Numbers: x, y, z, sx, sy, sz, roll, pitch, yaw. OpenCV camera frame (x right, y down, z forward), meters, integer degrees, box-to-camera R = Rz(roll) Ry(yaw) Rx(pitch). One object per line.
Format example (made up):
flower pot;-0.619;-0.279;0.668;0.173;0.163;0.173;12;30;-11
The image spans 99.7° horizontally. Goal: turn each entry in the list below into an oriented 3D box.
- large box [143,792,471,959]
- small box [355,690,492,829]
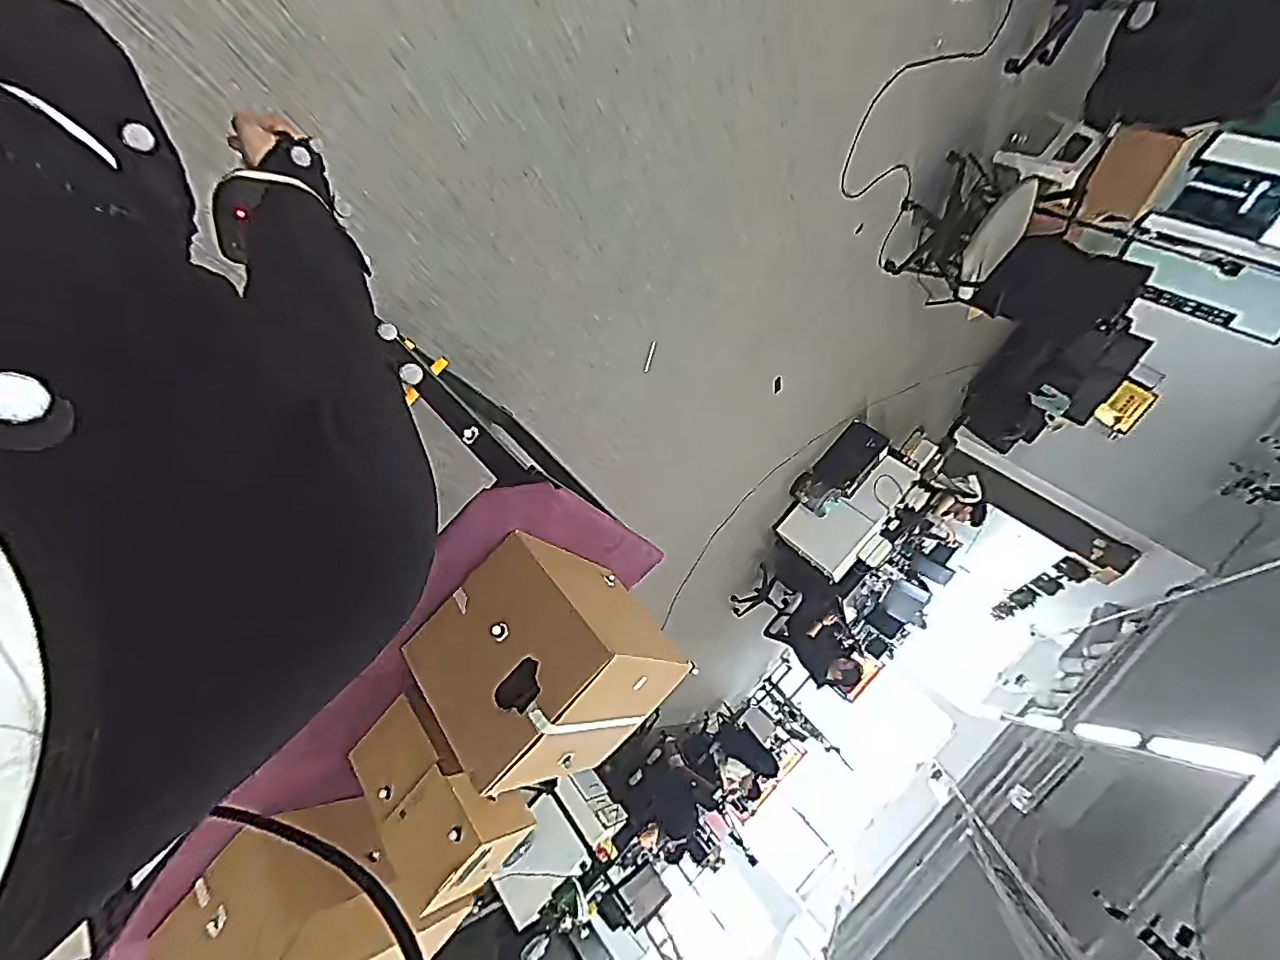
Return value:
large box;-0.638;0.872;1.077;0.320;0.320;0.408;-48;151;0
small box;-0.445;0.556;1.099;0.179;0.176;0.168;-49;150;0
